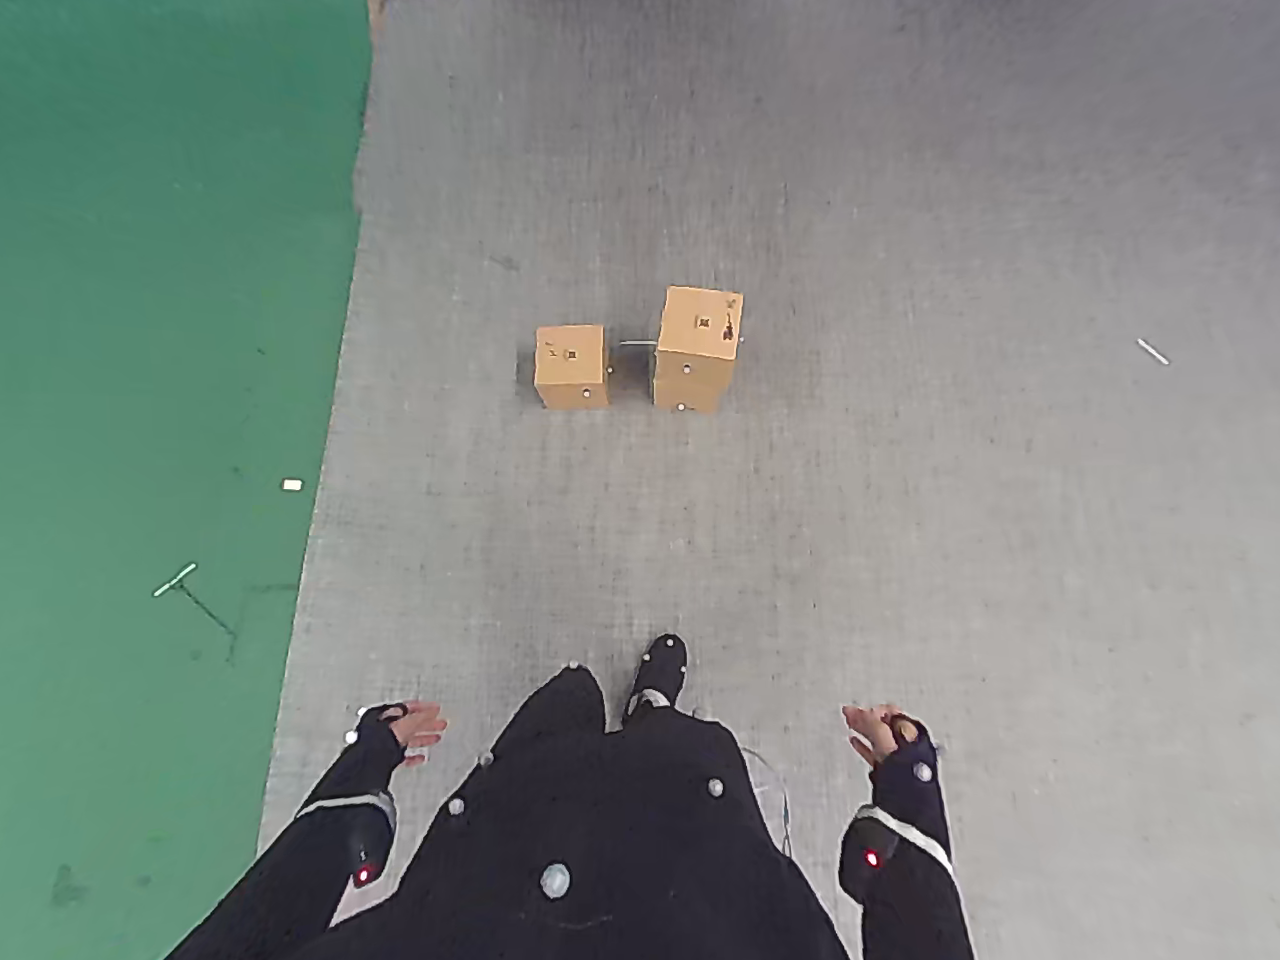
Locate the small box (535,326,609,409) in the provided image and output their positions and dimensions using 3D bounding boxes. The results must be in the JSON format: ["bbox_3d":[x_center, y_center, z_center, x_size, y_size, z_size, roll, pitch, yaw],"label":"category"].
[{"bbox_3d":[-0.175,-0.299,1.457,0.179,0.176,0.168,-2,76,3],"label":"small box"}]

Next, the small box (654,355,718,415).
[{"bbox_3d":[0.130,-0.293,1.443,0.168,0.176,0.179,9,77,5],"label":"small box"}]

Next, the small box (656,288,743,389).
[{"bbox_3d":[0.138,-0.330,1.282,0.179,0.176,0.168,9,77,6],"label":"small box"}]
